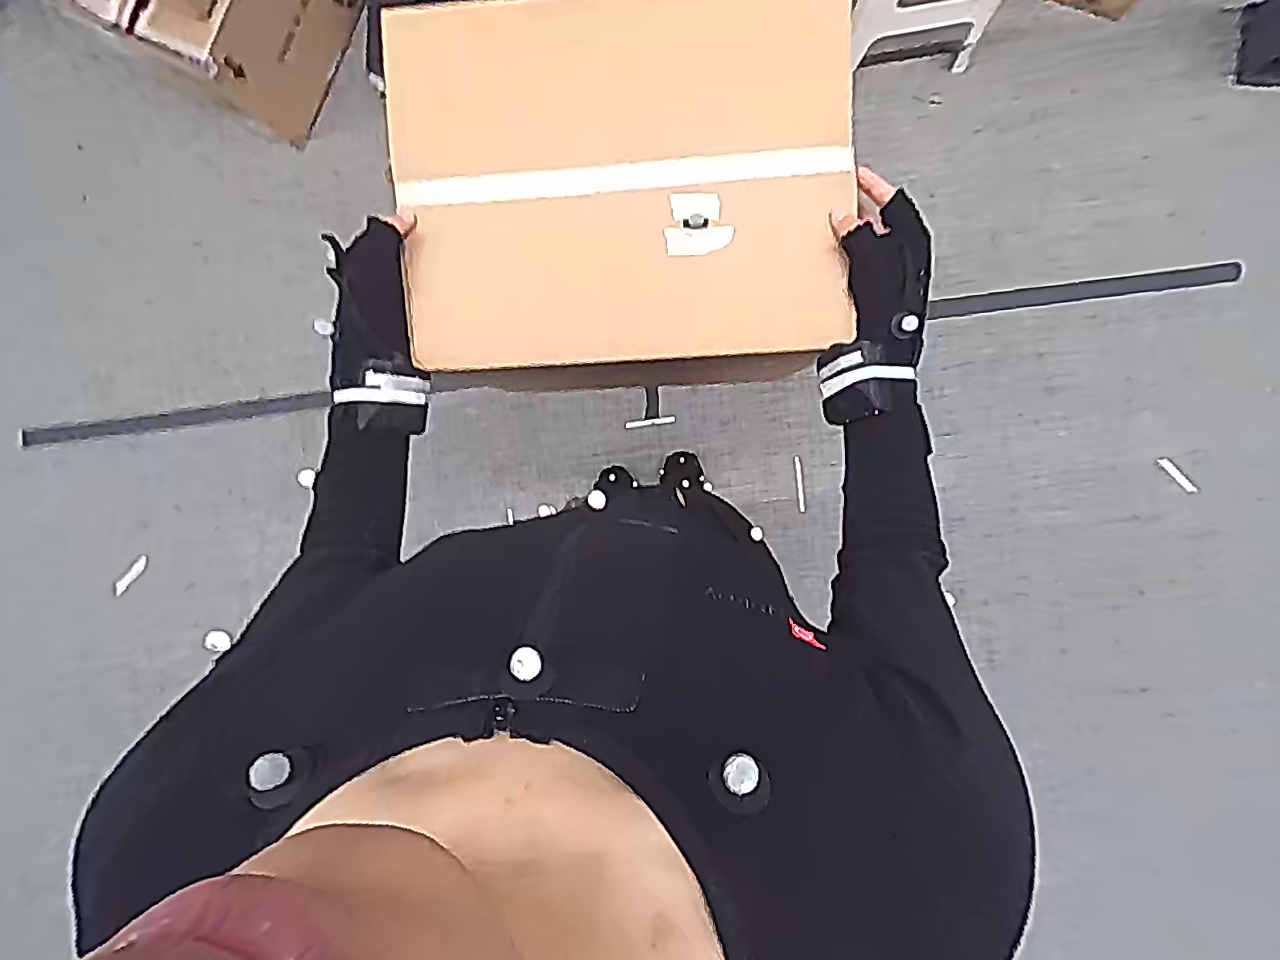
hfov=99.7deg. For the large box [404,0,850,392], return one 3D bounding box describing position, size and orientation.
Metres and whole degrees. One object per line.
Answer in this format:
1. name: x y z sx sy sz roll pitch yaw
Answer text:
1. large box: -0.006 -0.283 0.644 0.408 0.320 0.320 -2 96 3
